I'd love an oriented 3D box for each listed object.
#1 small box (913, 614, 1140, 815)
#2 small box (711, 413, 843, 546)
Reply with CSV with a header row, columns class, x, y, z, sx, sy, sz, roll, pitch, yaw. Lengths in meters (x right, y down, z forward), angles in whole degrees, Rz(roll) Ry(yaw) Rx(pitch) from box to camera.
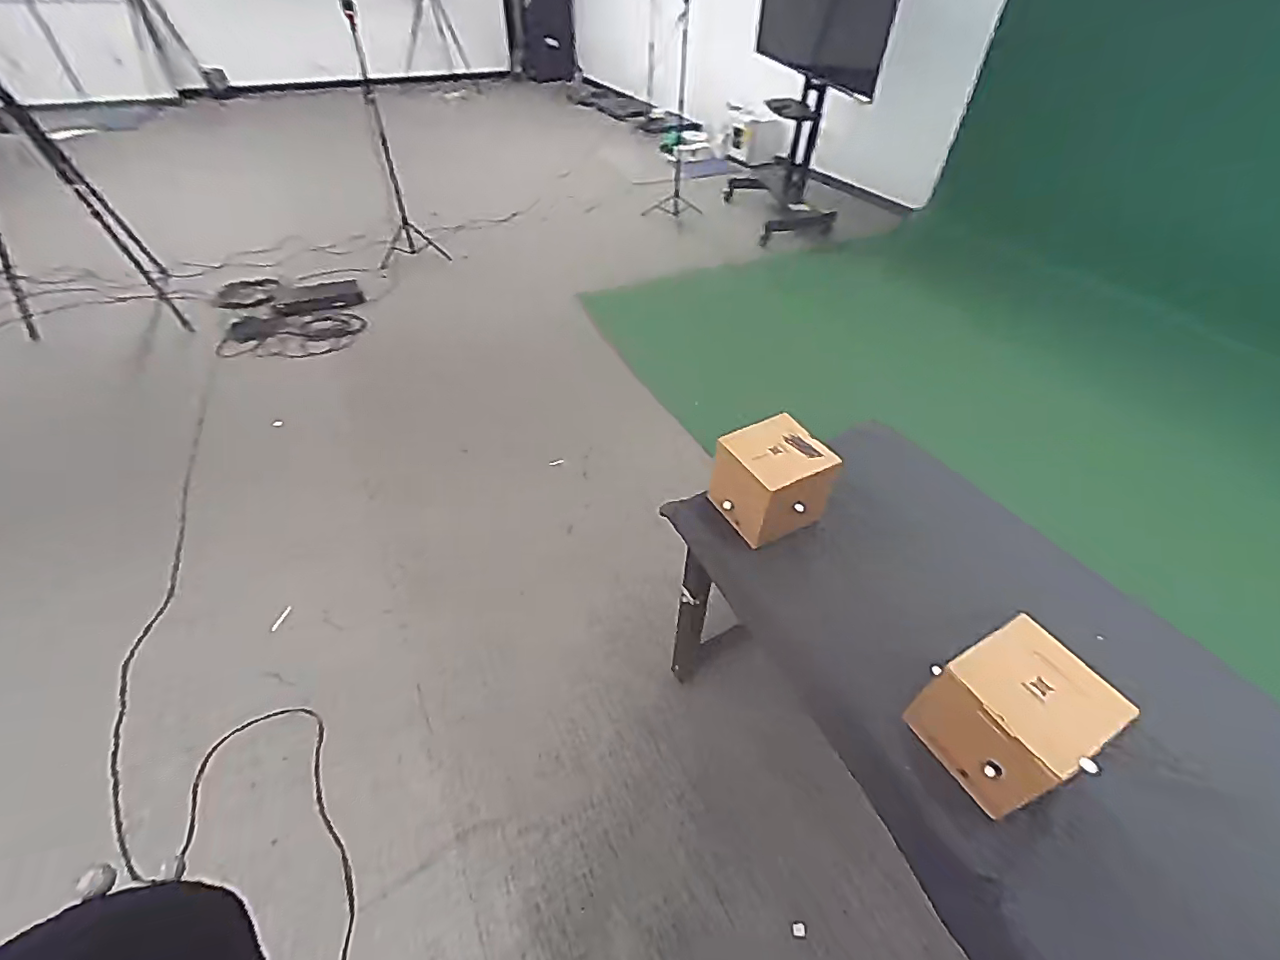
class,x,y,z,sx,sy,sz,roll,pitch,yaw
small box,0.515,0.327,0.752,0.179,0.176,0.168,-20,50,-23
small box,0.260,0.000,1.071,0.179,0.176,0.168,-21,49,-21
